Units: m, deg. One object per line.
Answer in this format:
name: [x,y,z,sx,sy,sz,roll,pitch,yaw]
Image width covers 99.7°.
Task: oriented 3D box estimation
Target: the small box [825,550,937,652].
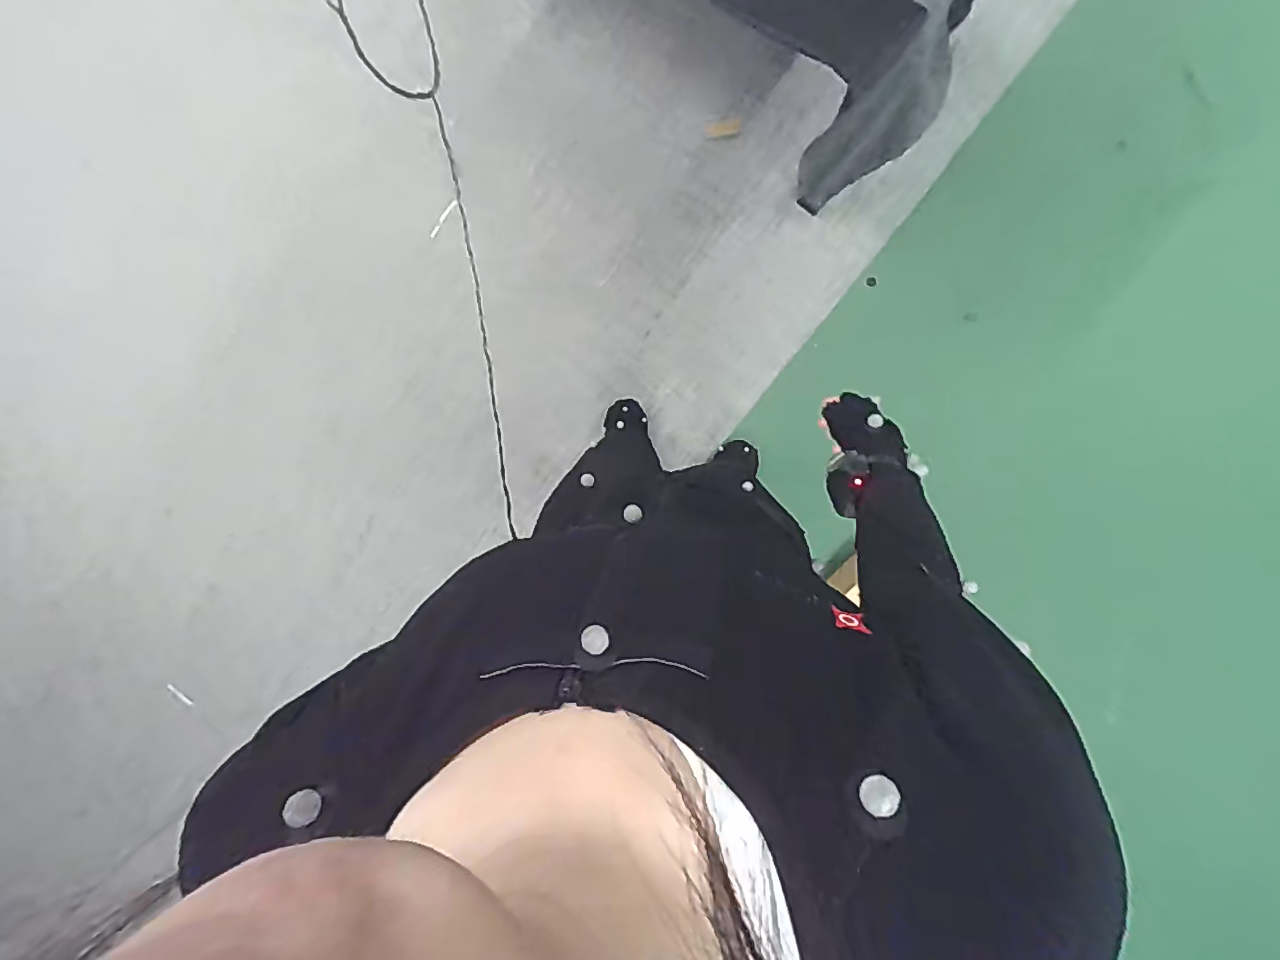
small box: [0.600,0.295,1.376,0.179,0.176,0.168,43,99,1]
